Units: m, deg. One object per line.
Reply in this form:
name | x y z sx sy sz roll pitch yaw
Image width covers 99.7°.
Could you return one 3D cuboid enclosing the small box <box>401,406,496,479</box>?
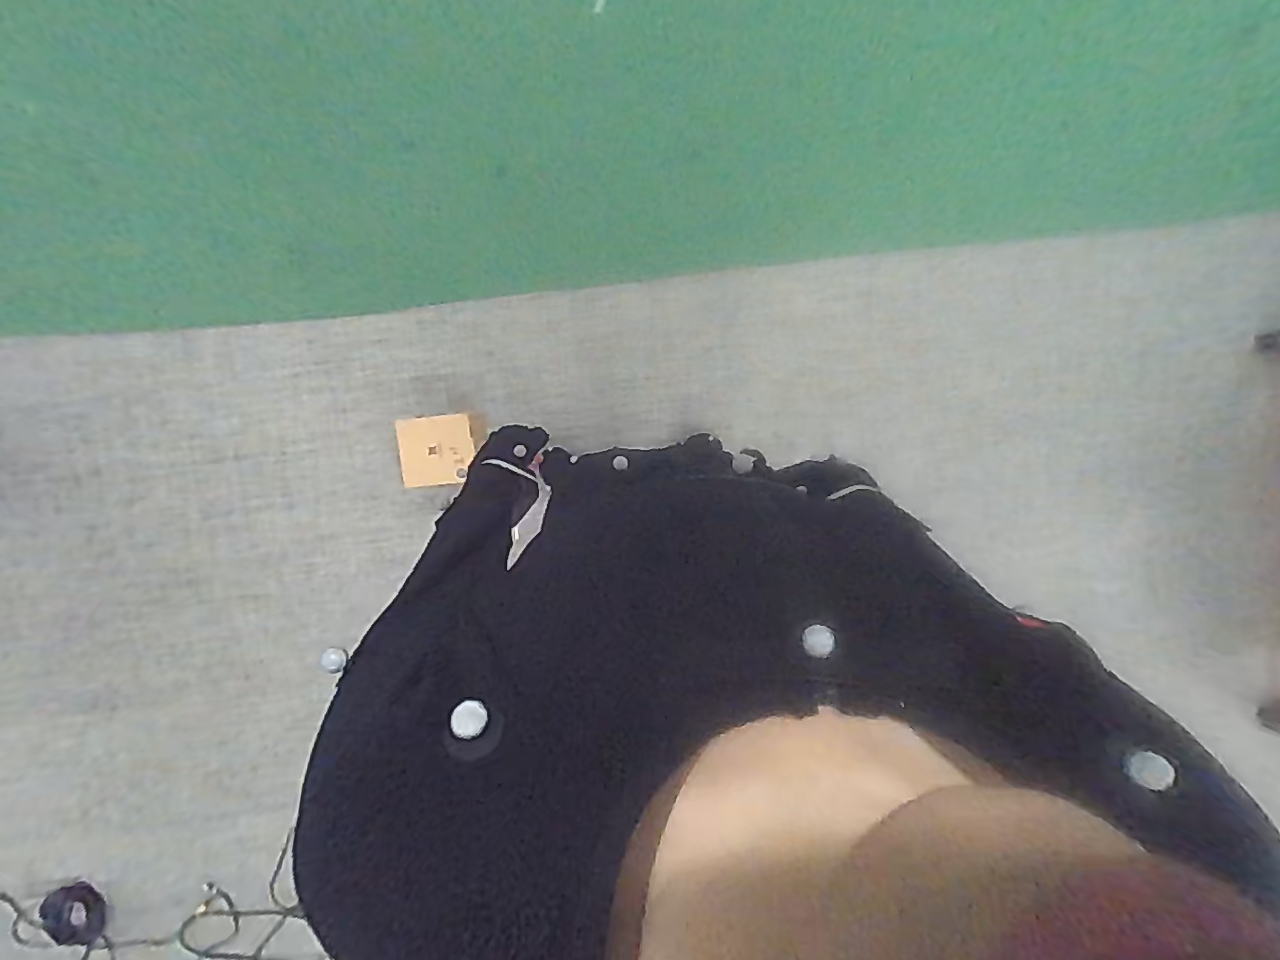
small box | -0.482 -0.097 1.380 0.179 0.176 0.168 -6 97 -2
